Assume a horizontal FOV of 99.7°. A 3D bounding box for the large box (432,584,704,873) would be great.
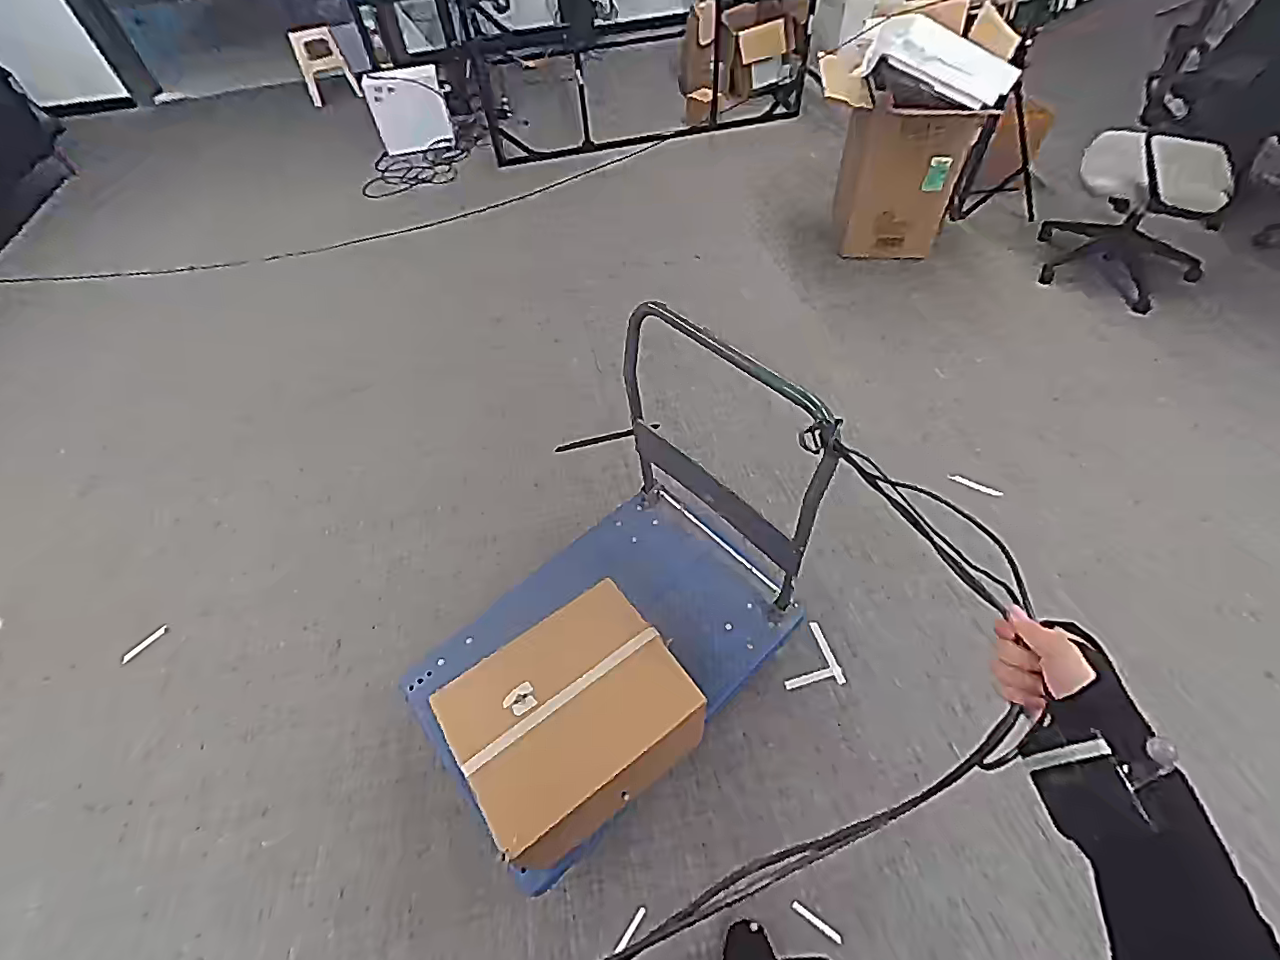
[{"bbox_3d":[-0.121,0.491,1.080,0.408,0.320,0.320,-32,56,-18],"label":"large box"}]
